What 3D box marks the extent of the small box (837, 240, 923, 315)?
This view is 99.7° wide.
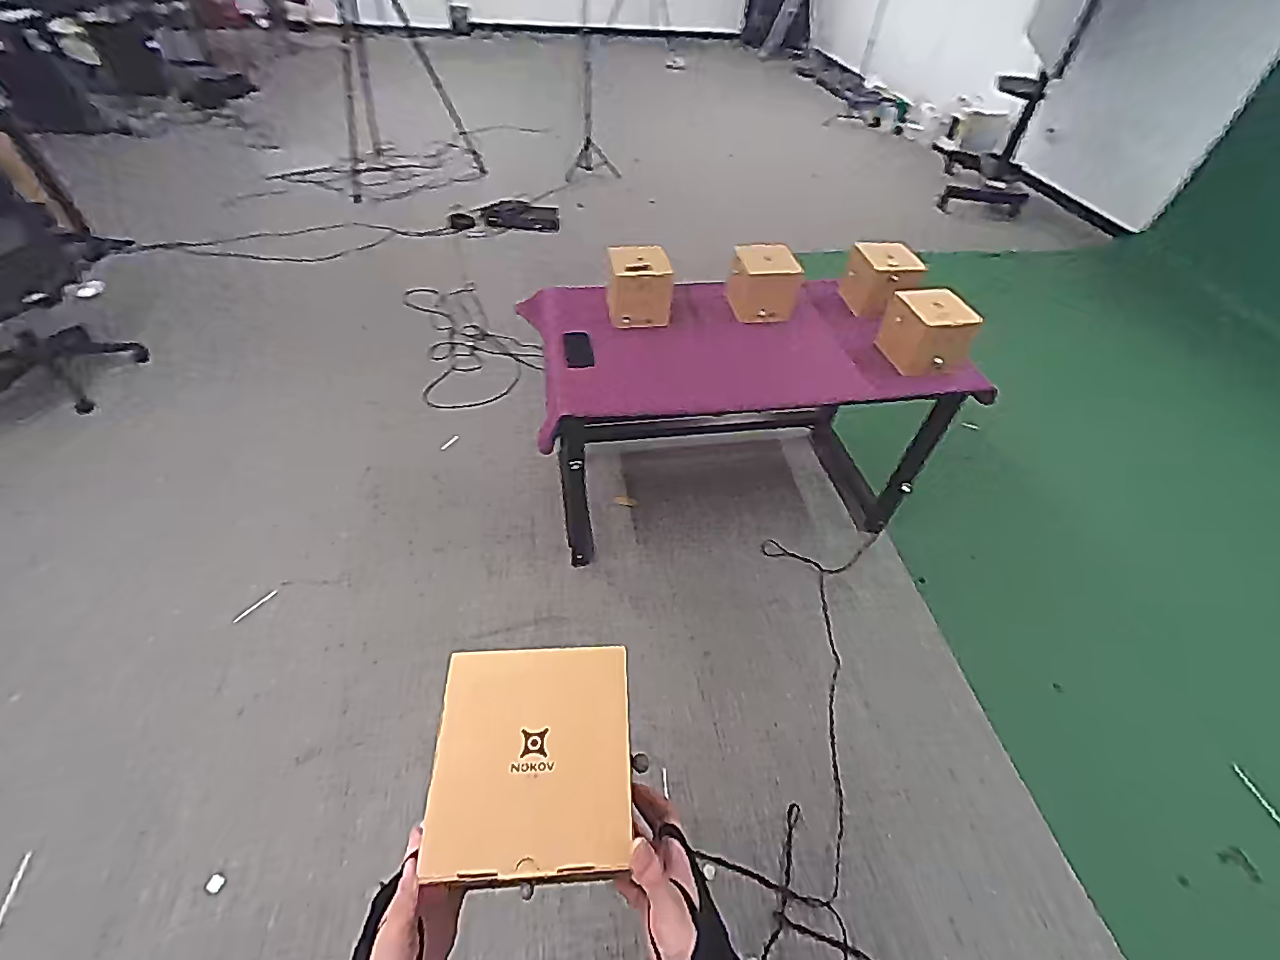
[{"bbox_3d":[0.751,-0.642,1.715,0.168,0.176,0.179,-5,48,-6],"label":"small box"}]

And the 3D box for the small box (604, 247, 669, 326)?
[{"bbox_3d":[-0.013,-0.571,1.608,0.168,0.176,0.179,-6,48,-8],"label":"small box"}]

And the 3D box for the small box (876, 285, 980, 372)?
[{"bbox_3d":[0.795,-0.425,1.517,0.168,0.176,0.179,-7,49,-7],"label":"small box"}]

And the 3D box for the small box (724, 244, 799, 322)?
[{"bbox_3d":[0.366,-0.607,1.665,0.168,0.176,0.179,-6,49,-7],"label":"small box"}]

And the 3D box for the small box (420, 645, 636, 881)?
[{"bbox_3d":[-0.091,0.275,0.524,0.168,0.176,0.179,-1,53,-3],"label":"small box"}]
